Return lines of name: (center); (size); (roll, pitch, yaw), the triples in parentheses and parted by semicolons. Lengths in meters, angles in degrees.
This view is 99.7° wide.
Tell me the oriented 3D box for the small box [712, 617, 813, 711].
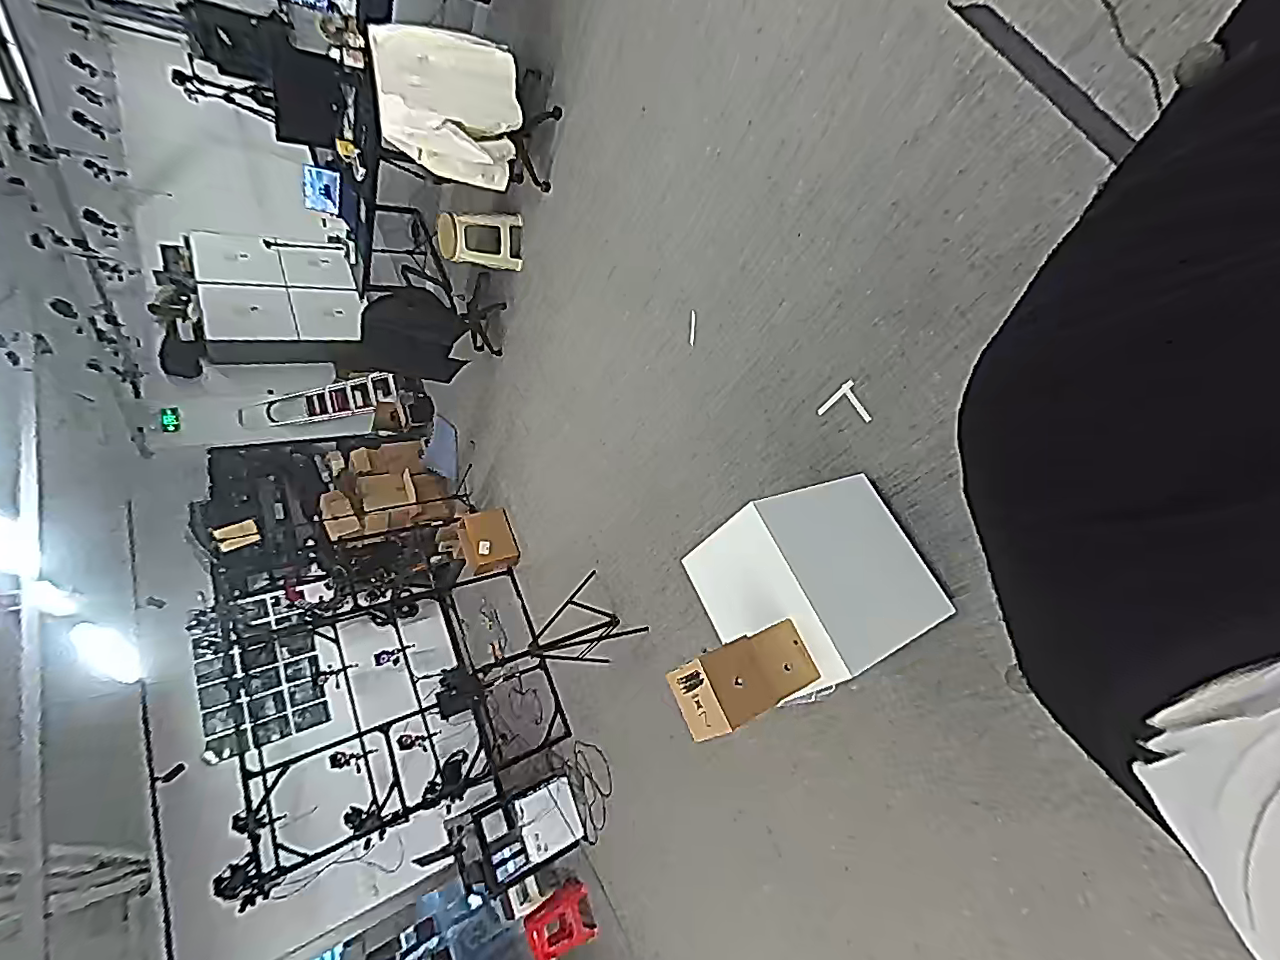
small box: (0.330, 0.483, 1.431); (0.179, 0.176, 0.168); (-50, 59, 49)
